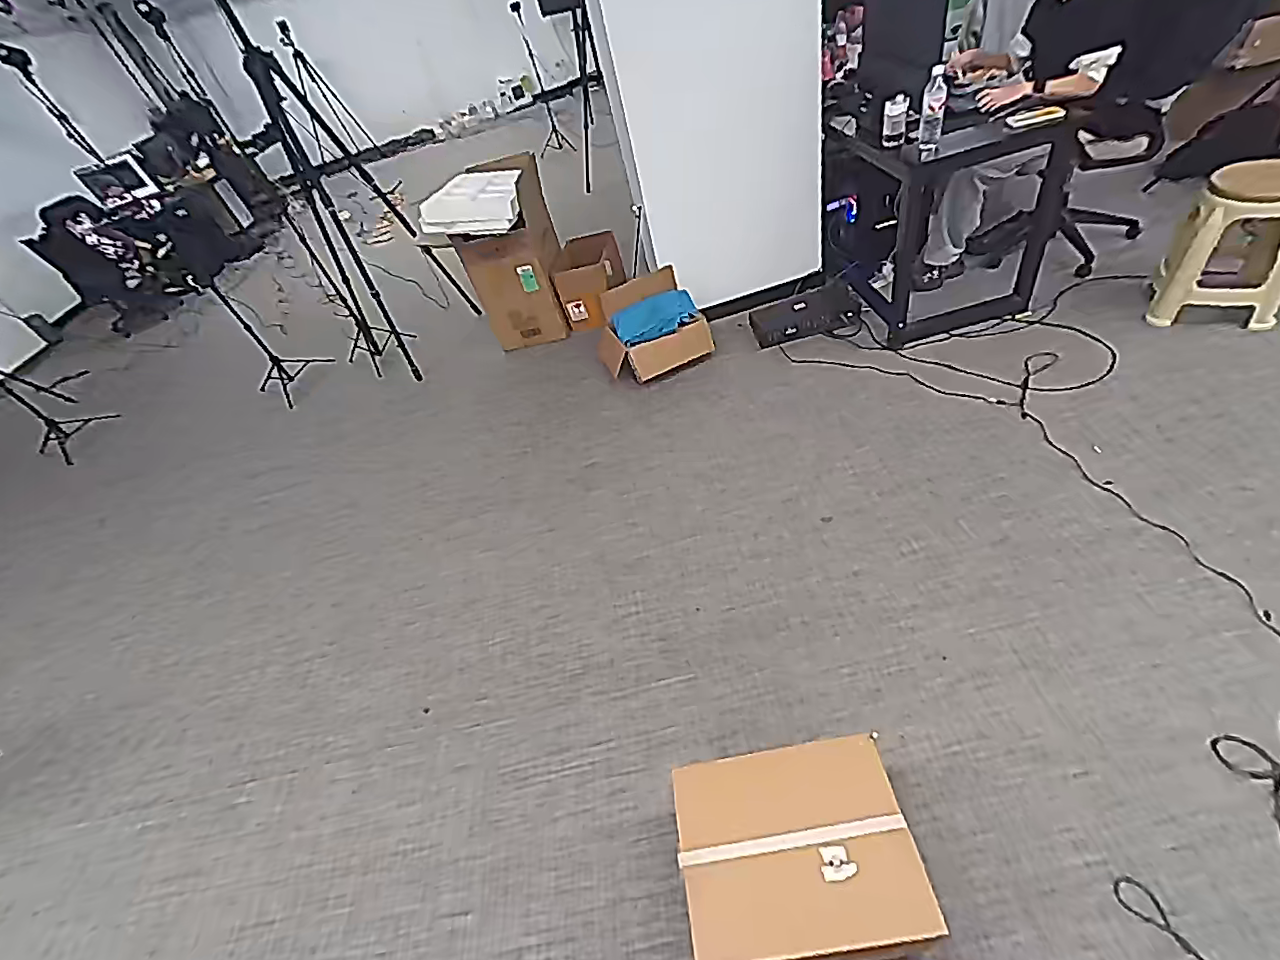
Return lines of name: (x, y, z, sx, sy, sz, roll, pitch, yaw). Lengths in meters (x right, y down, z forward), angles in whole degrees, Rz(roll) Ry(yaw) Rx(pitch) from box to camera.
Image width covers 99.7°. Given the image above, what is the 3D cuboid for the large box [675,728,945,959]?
large box: (0.311, 0.745, 1.076, 0.408, 0.320, 0.320, -13, 44, 5)
